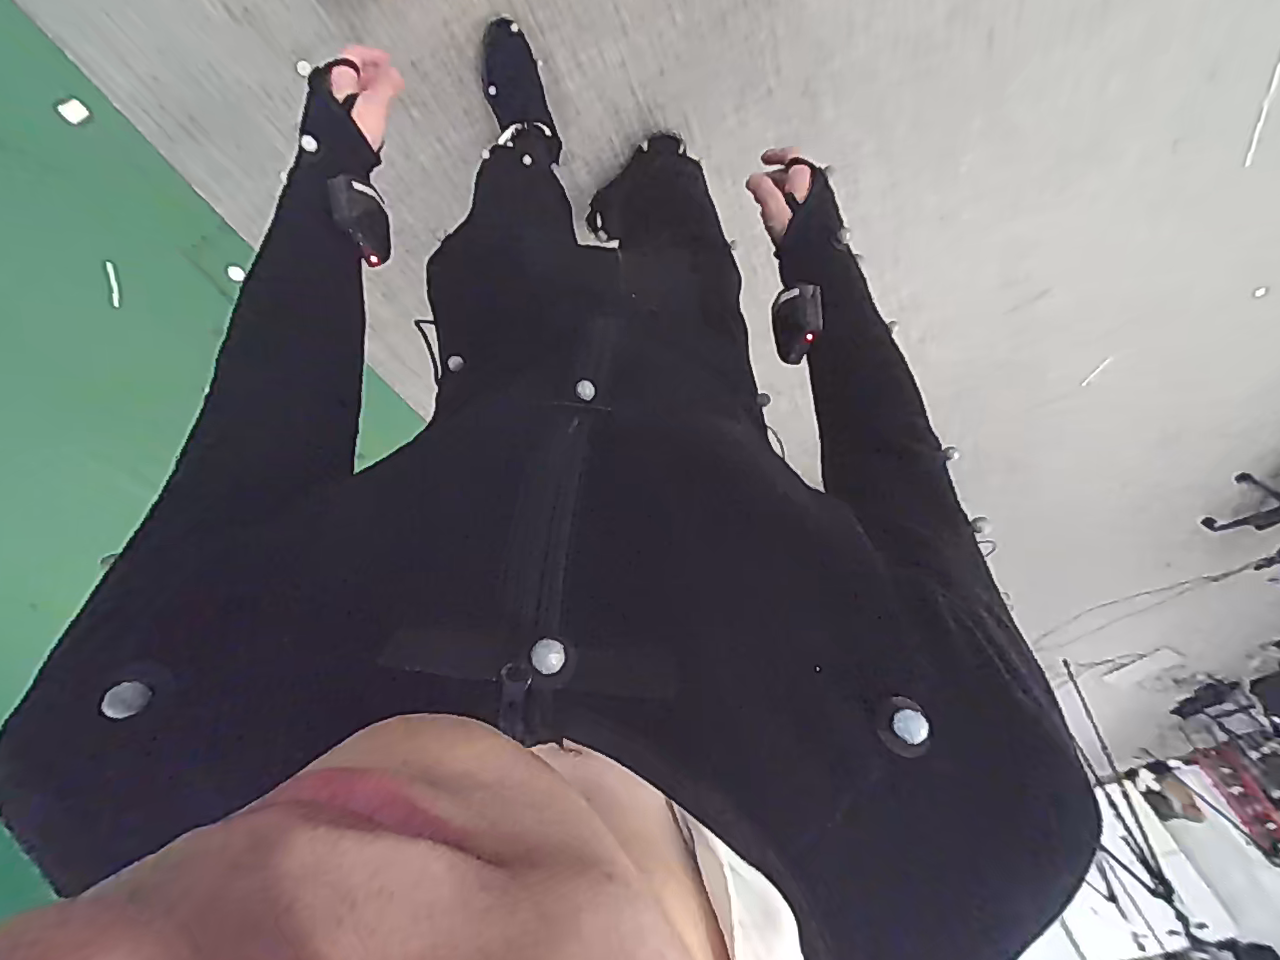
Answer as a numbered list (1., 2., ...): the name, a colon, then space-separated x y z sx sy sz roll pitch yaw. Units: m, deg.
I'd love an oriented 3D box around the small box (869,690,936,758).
1. small box: 0.974 0.903 2.014 0.168 0.176 0.179 -24 134 11
